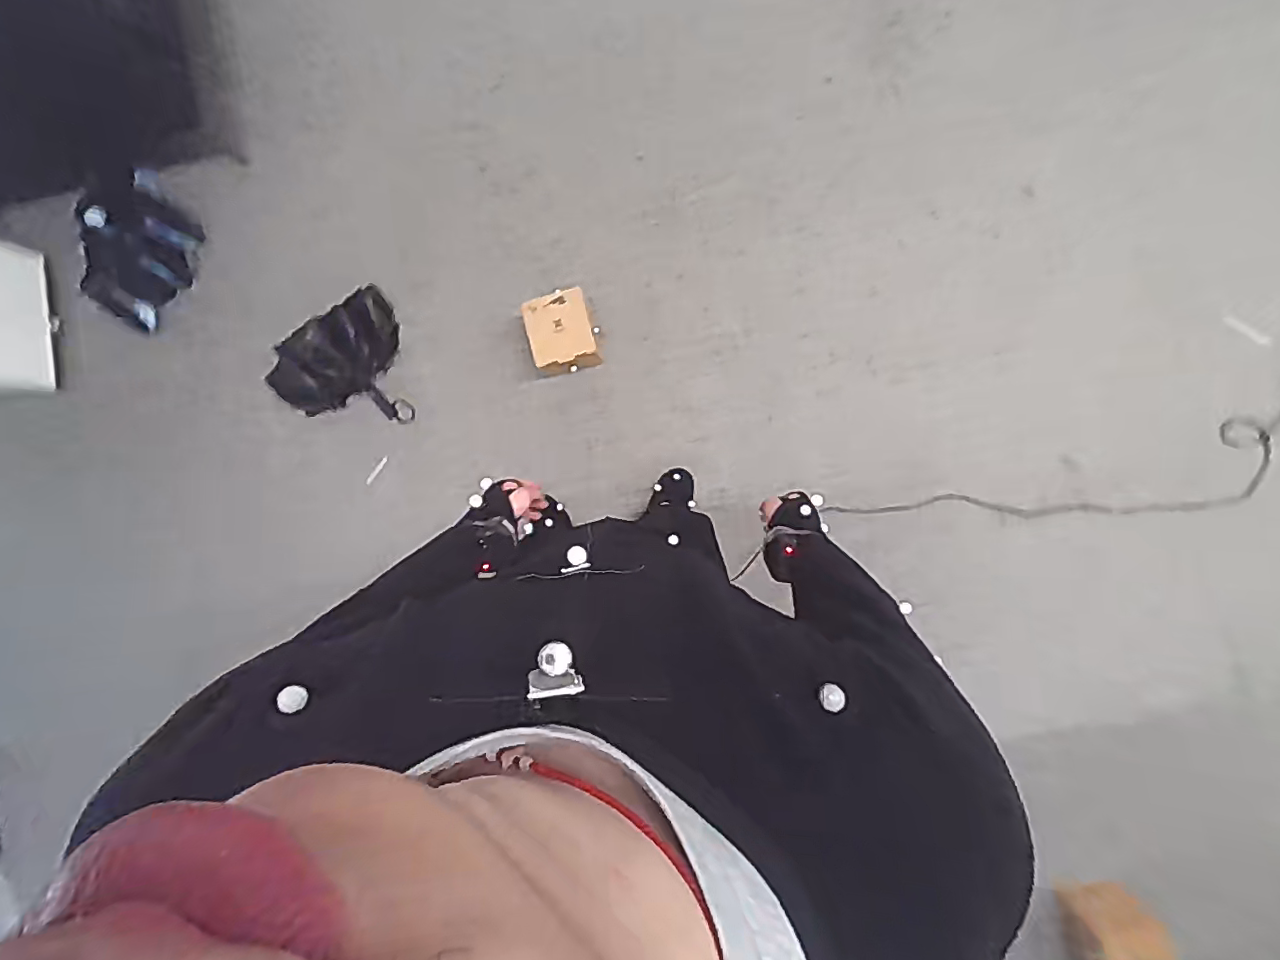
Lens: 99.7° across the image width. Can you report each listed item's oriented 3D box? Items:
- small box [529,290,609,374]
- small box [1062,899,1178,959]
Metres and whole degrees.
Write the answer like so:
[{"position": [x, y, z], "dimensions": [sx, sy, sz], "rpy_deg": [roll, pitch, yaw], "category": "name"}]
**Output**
[{"position": [-0.188, -0.395, 1.484], "dimensions": [0.168, 0.176, 0.179], "rpy_deg": [-13, 91, 4], "category": "small box"}, {"position": [1.226, 1.217, 1.385], "dimensions": [0.168, 0.176, 0.179], "rpy_deg": [-8, 92, 7], "category": "small box"}]
